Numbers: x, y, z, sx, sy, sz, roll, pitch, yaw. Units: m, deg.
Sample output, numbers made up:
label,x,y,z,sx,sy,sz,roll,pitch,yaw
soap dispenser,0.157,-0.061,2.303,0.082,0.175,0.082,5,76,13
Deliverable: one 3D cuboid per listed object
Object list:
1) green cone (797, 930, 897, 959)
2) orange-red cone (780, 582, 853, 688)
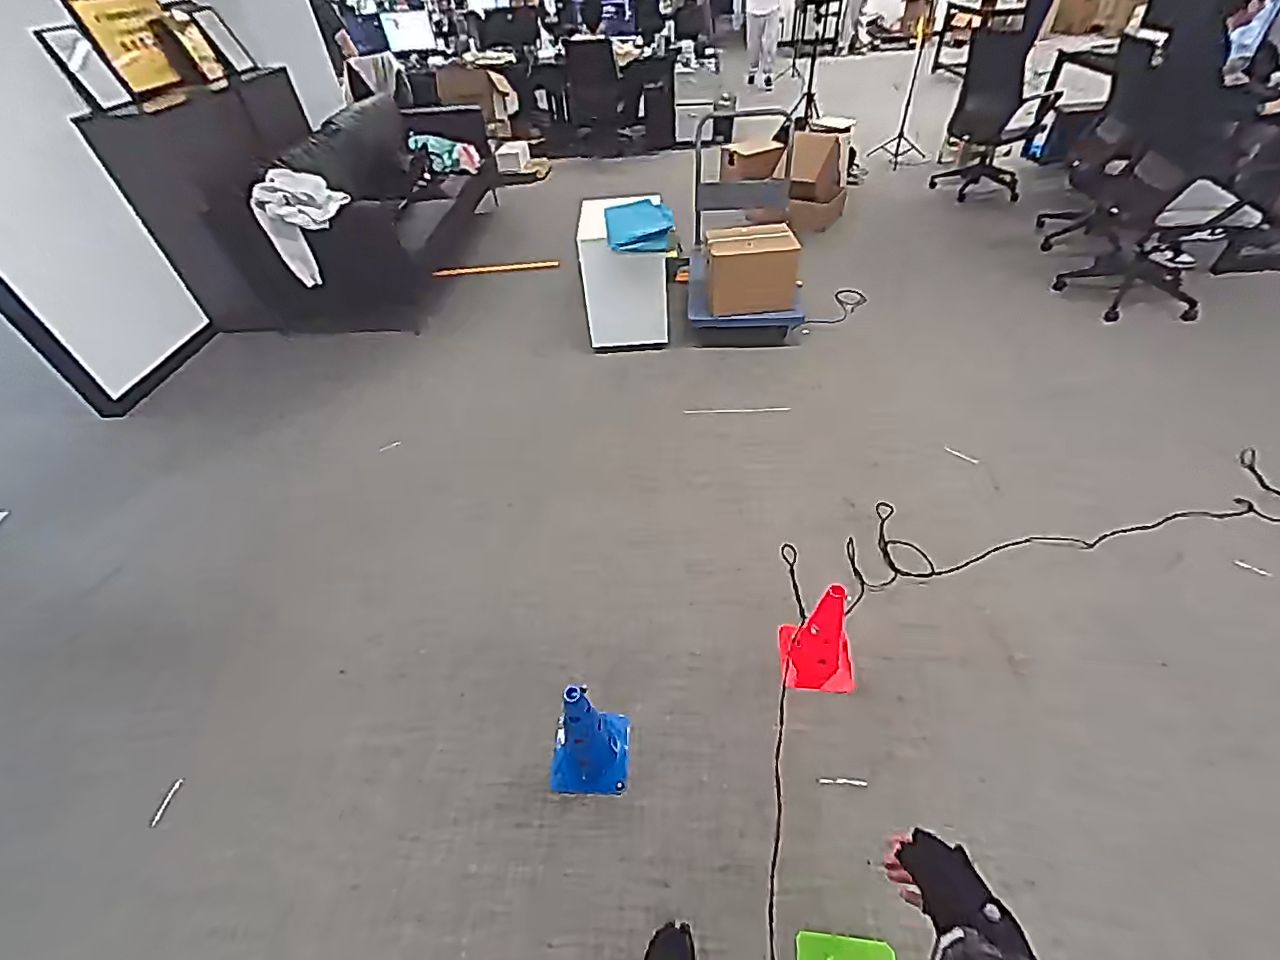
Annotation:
label,x,y,z,sx,sy,sz,roll,pitch,yaw
green cone,0.412,0.904,0.951,0.200,0.368,0.202,2,44,6
orange-red cone,0.500,0.391,1.465,0.198,0.360,0.199,2,47,9
